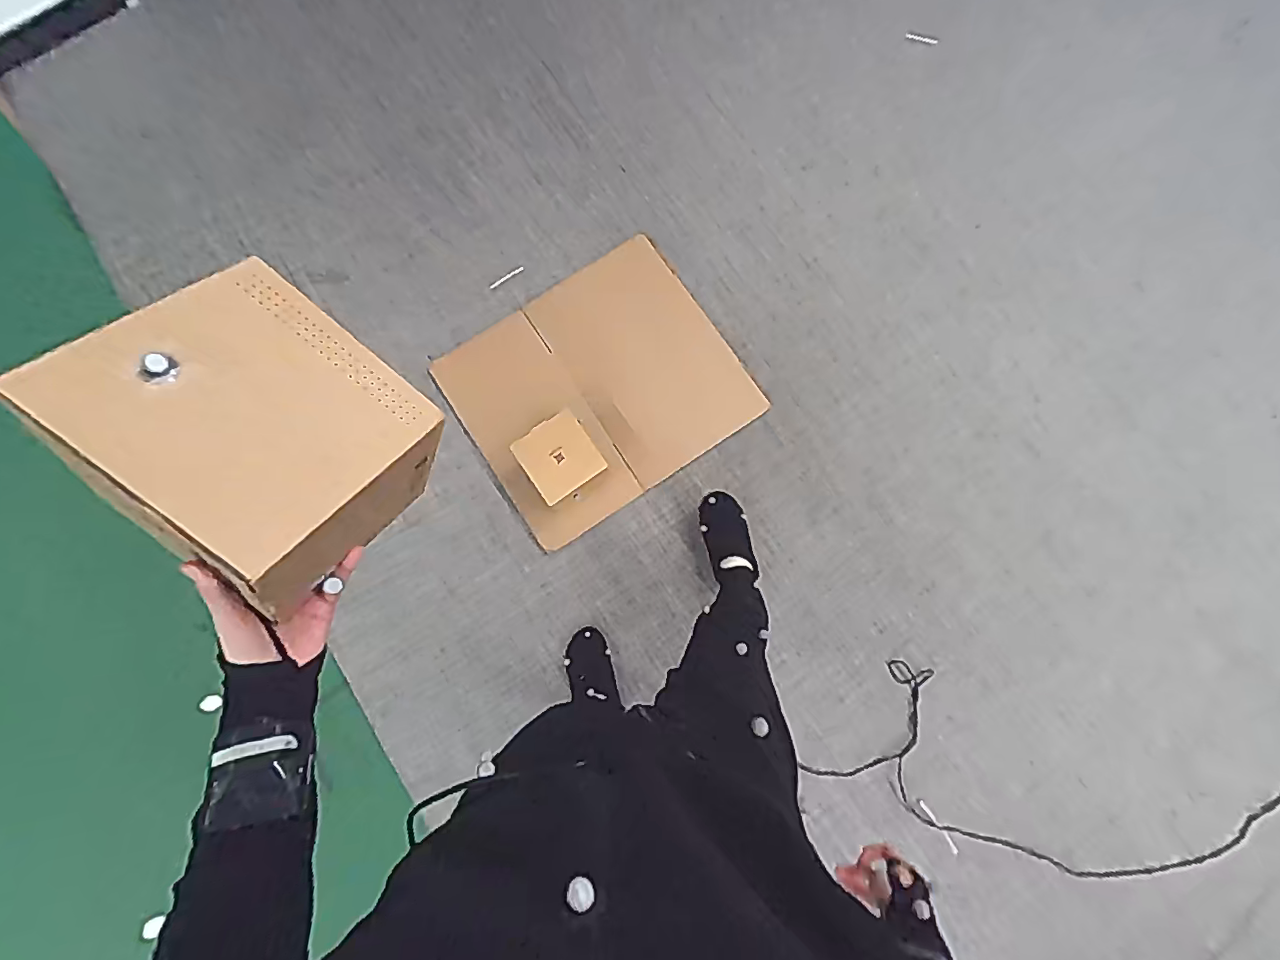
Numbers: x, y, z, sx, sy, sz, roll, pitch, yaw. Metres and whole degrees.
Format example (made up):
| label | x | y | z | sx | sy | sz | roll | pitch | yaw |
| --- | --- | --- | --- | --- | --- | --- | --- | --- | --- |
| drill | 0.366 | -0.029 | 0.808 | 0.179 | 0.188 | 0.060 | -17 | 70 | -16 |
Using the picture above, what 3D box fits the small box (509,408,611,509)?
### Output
| label | x | y | z | sx | sy | sz | roll | pitch | yaw |
| --- | --- | --- | --- | --- | --- | --- | --- | --- | --- |
| small box | -0.183 | -0.042 | 1.306 | 0.168 | 0.176 | 0.179 | -35 | 81 | -5 |
